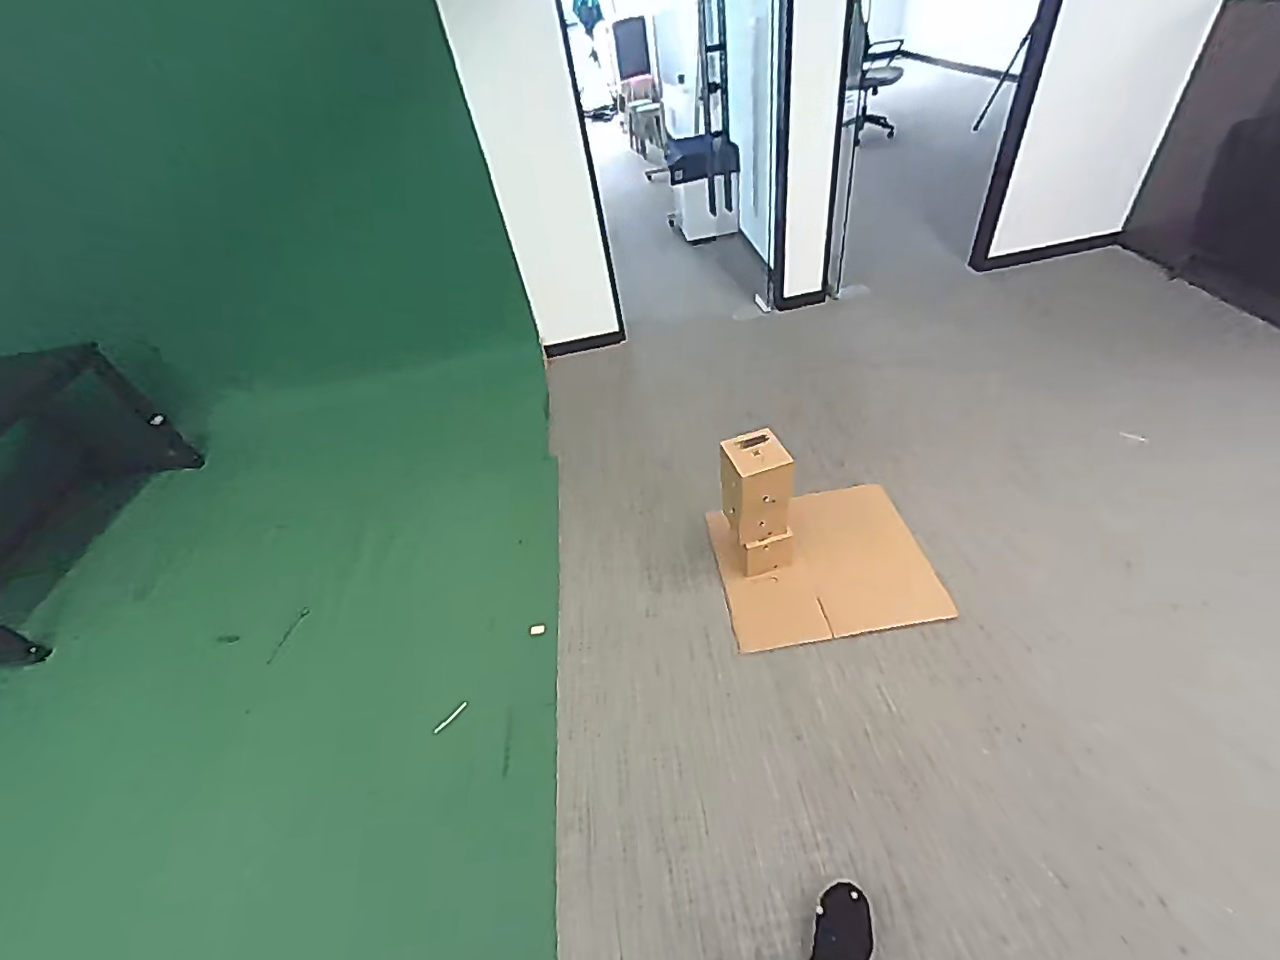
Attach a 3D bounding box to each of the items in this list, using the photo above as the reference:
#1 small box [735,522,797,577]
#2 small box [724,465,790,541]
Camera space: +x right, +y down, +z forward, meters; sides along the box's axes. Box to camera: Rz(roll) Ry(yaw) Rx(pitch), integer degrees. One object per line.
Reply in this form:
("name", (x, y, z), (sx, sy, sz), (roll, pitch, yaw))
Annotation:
("small box", (0.435, 0.208, 1.896), (0.168, 0.176, 0.179), (-16, 43, -4))
("small box", (0.388, 0.084, 1.795), (0.168, 0.176, 0.179), (-14, 42, -4))
